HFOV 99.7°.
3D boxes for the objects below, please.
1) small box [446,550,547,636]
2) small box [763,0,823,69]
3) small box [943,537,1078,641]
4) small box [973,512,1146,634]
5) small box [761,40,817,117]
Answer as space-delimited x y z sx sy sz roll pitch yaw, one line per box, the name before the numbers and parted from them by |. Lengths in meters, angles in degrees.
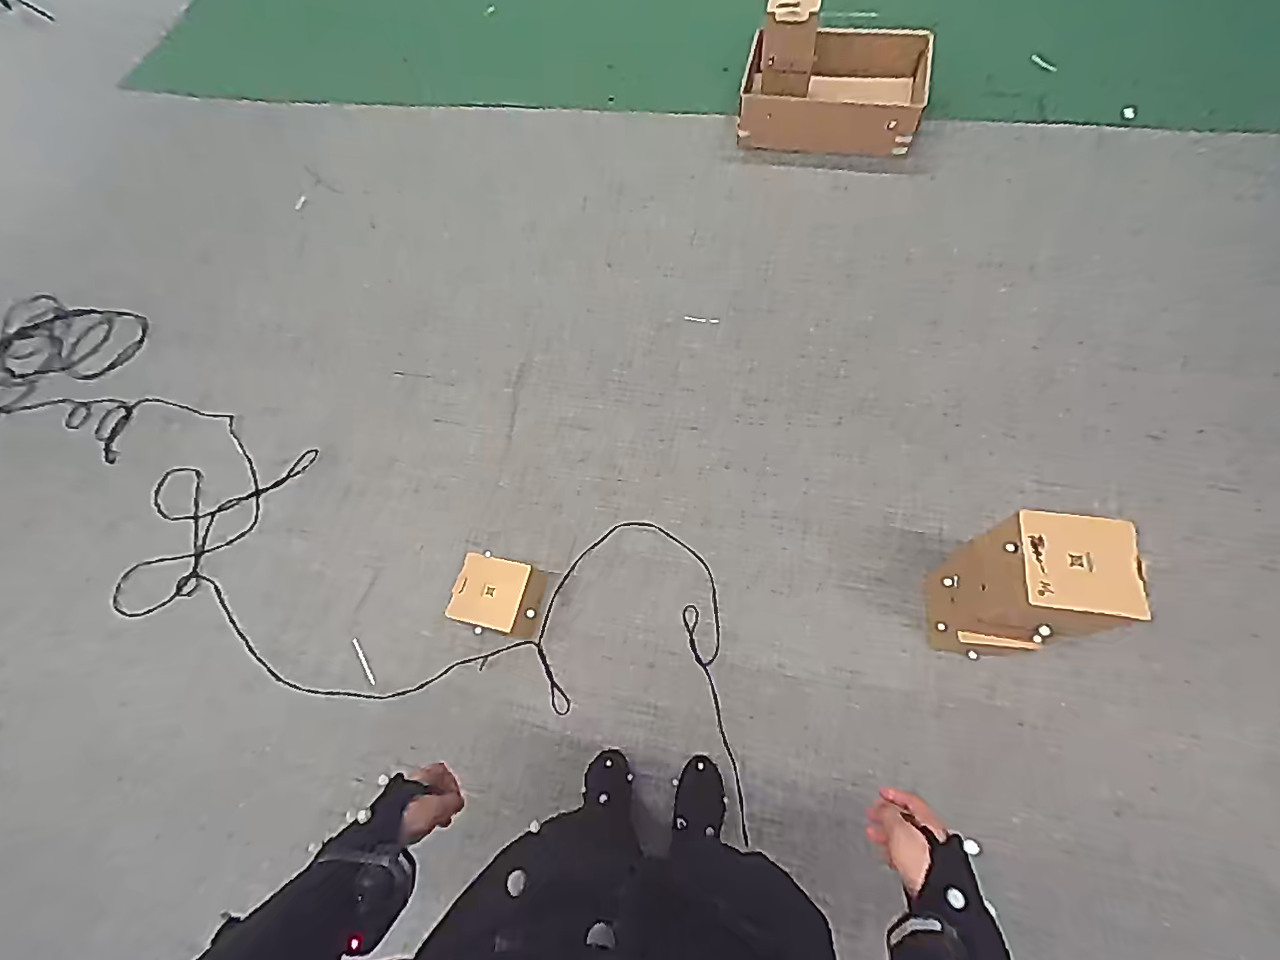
small box | -0.353 0.293 1.373 0.179 0.176 0.168 10 68 11
small box | 0.511 -1.510 1.801 0.168 0.176 0.179 10 68 9
small box | 0.748 0.228 1.107 0.179 0.176 0.168 7 67 10
small box | 0.724 0.170 0.955 0.179 0.176 0.168 7 67 9
small box | 0.535 -1.457 1.955 0.168 0.176 0.179 8 69 10
